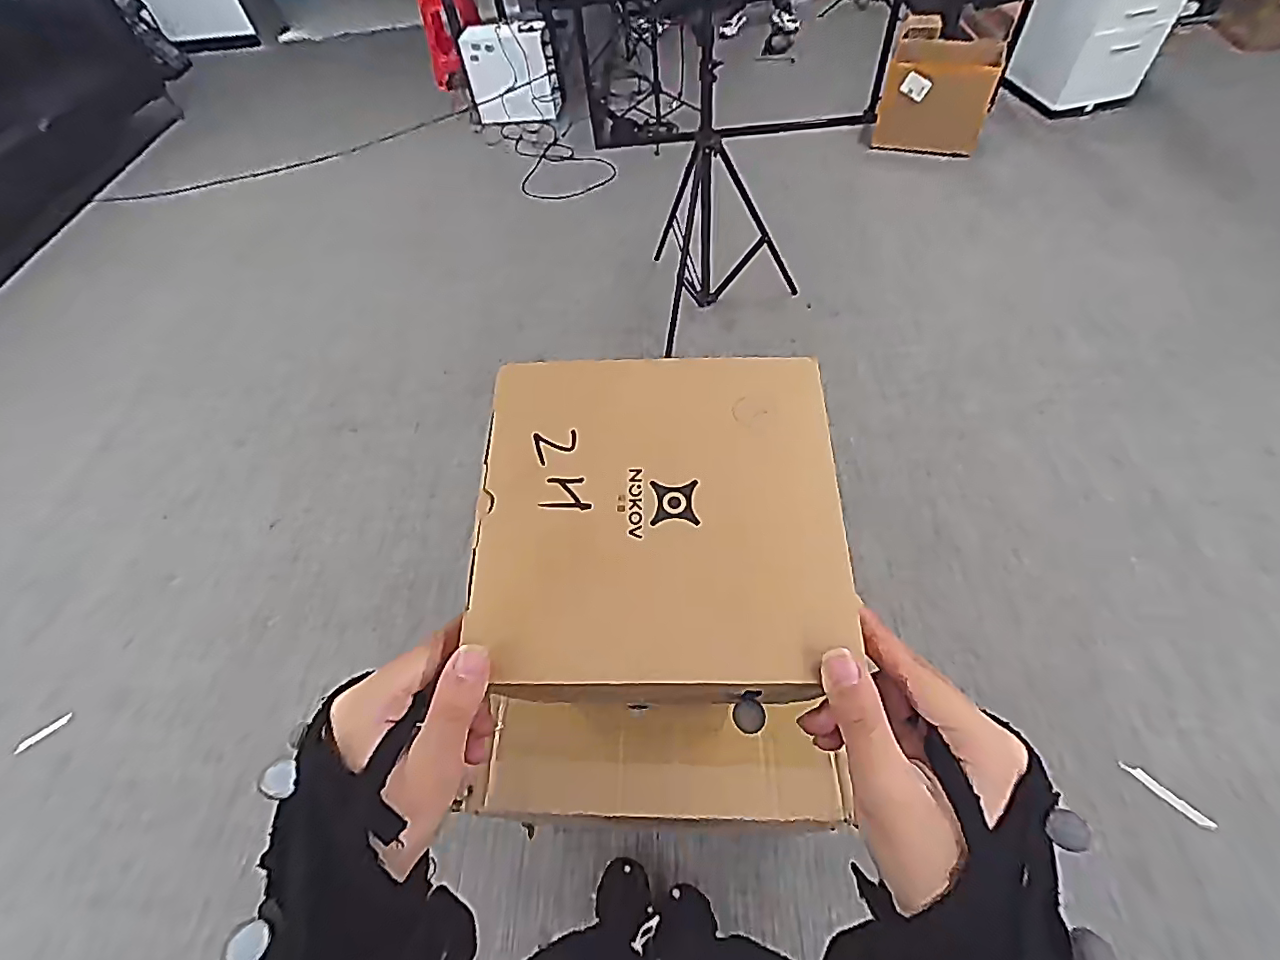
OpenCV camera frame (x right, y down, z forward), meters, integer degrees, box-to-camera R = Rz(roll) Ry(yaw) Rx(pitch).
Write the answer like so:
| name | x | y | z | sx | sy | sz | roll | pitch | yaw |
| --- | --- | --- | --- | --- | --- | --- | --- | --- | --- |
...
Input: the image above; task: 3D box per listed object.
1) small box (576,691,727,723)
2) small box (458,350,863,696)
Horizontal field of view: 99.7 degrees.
| name | x | y | z | sx | sy | sz | roll | pitch | yaw |
| --- | --- | --- | --- | --- | --- | --- | --- | --- | --- |
| small box | 0.016 | 0.193 | 0.659 | 0.179 | 0.176 | 0.168 | -1 | 56 | 5 |
| small box | 0.012 | 0.039 | 0.334 | 0.179 | 0.176 | 0.168 | -1 | 65 | 3 |
